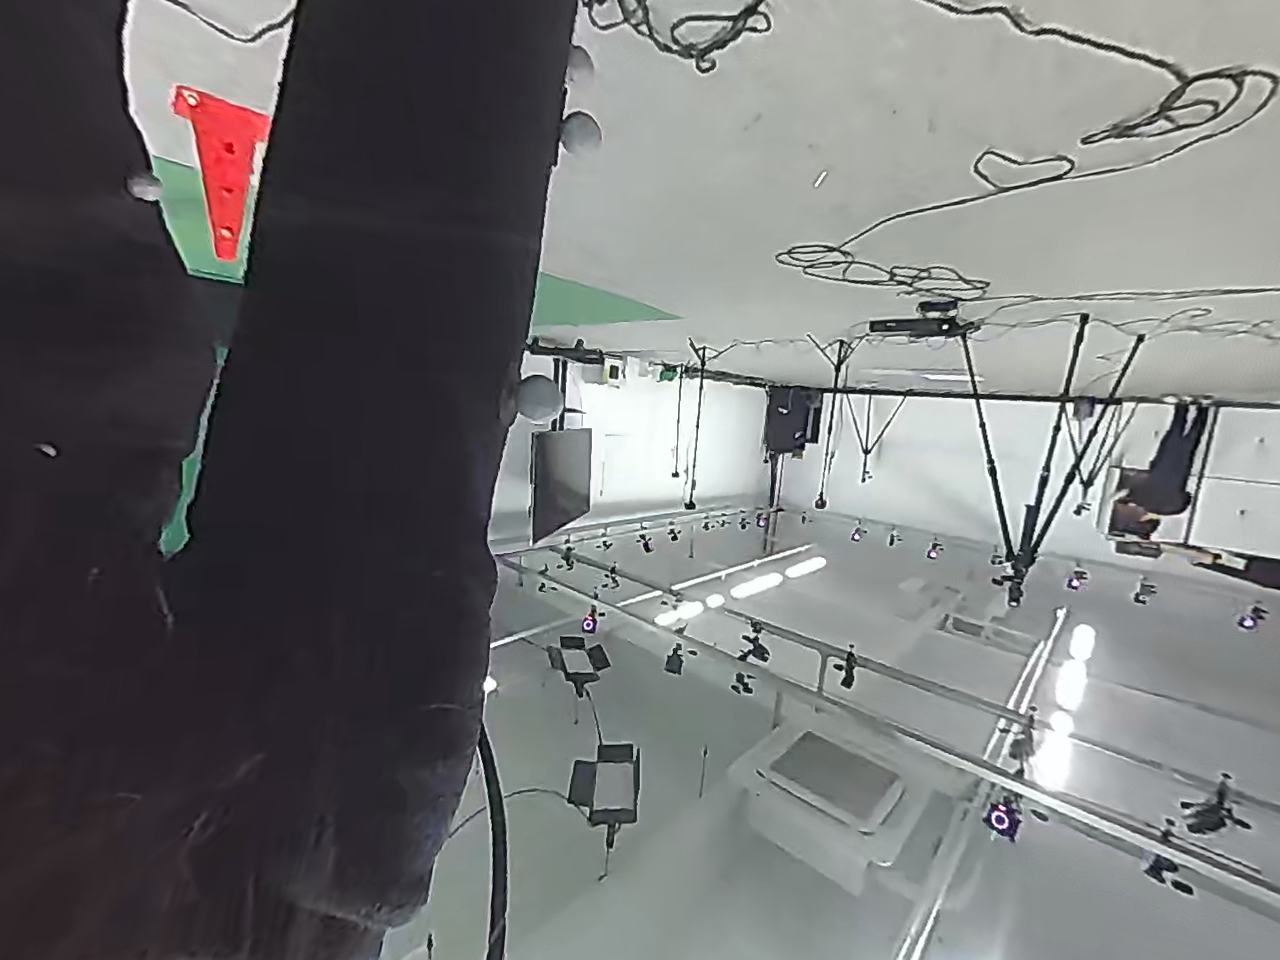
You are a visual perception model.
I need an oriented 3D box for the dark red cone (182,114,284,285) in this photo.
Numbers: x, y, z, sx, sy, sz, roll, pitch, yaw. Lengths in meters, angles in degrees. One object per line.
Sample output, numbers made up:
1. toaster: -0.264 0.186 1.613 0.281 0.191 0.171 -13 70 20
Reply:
1. dark red cone: -1.059 -0.719 1.414 0.202 0.394 0.201 -2 -167 -41
